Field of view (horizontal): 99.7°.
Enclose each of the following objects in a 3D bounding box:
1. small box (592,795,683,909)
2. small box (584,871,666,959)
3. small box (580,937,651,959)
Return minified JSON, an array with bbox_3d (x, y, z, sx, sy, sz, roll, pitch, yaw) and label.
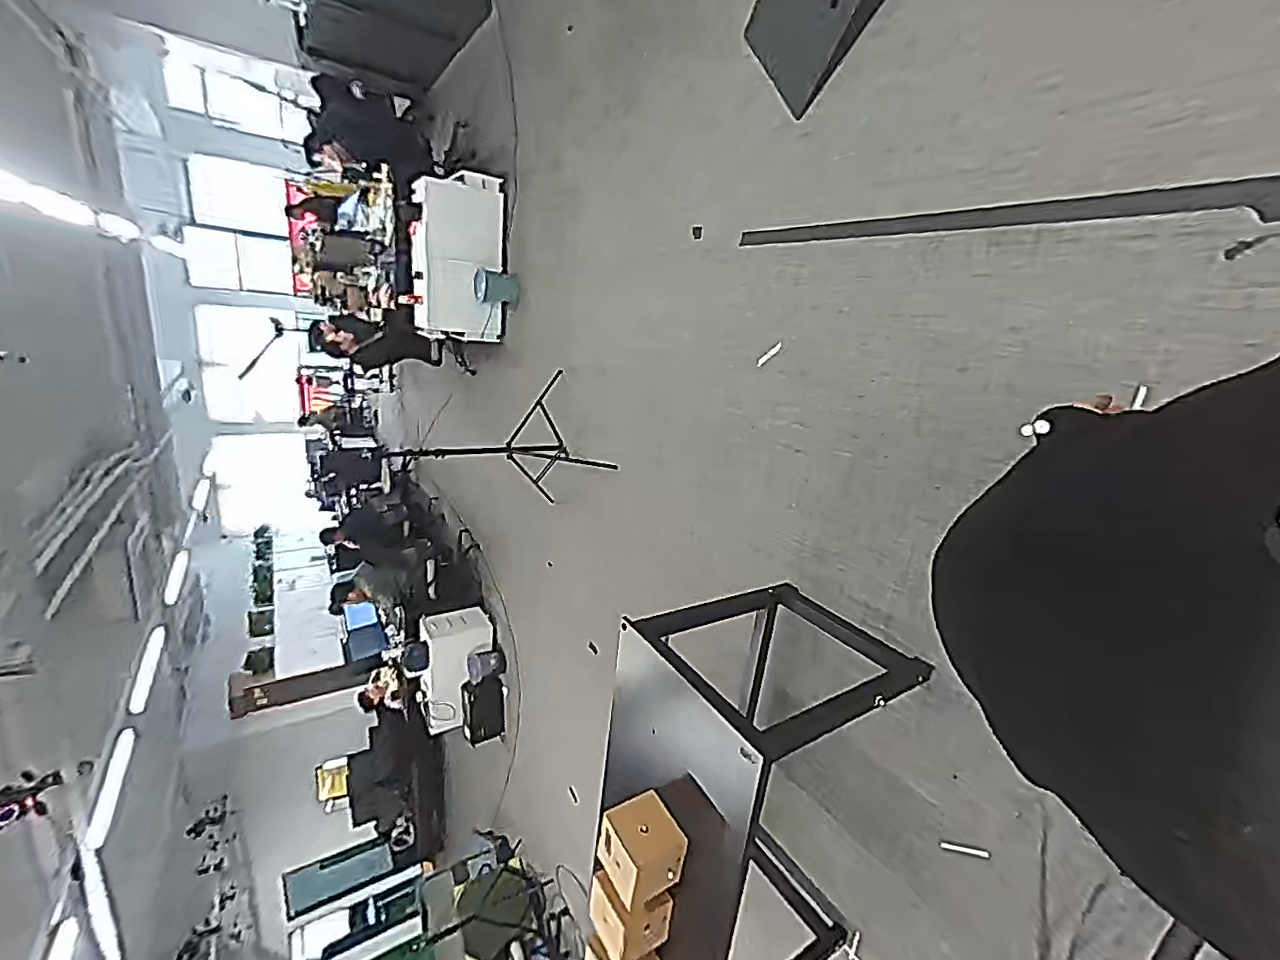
[{"bbox_3d":[-0.009,1.002,1.480,0.179,0.176,0.168,34,122,49],"label":"small box"},{"bbox_3d":[-0.043,1.235,1.564,0.179,0.176,0.168,29,117,52],"label":"small box"},{"bbox_3d":[-0.069,1.487,1.632,0.168,0.176,0.179,26,115,52],"label":"small box"}]
